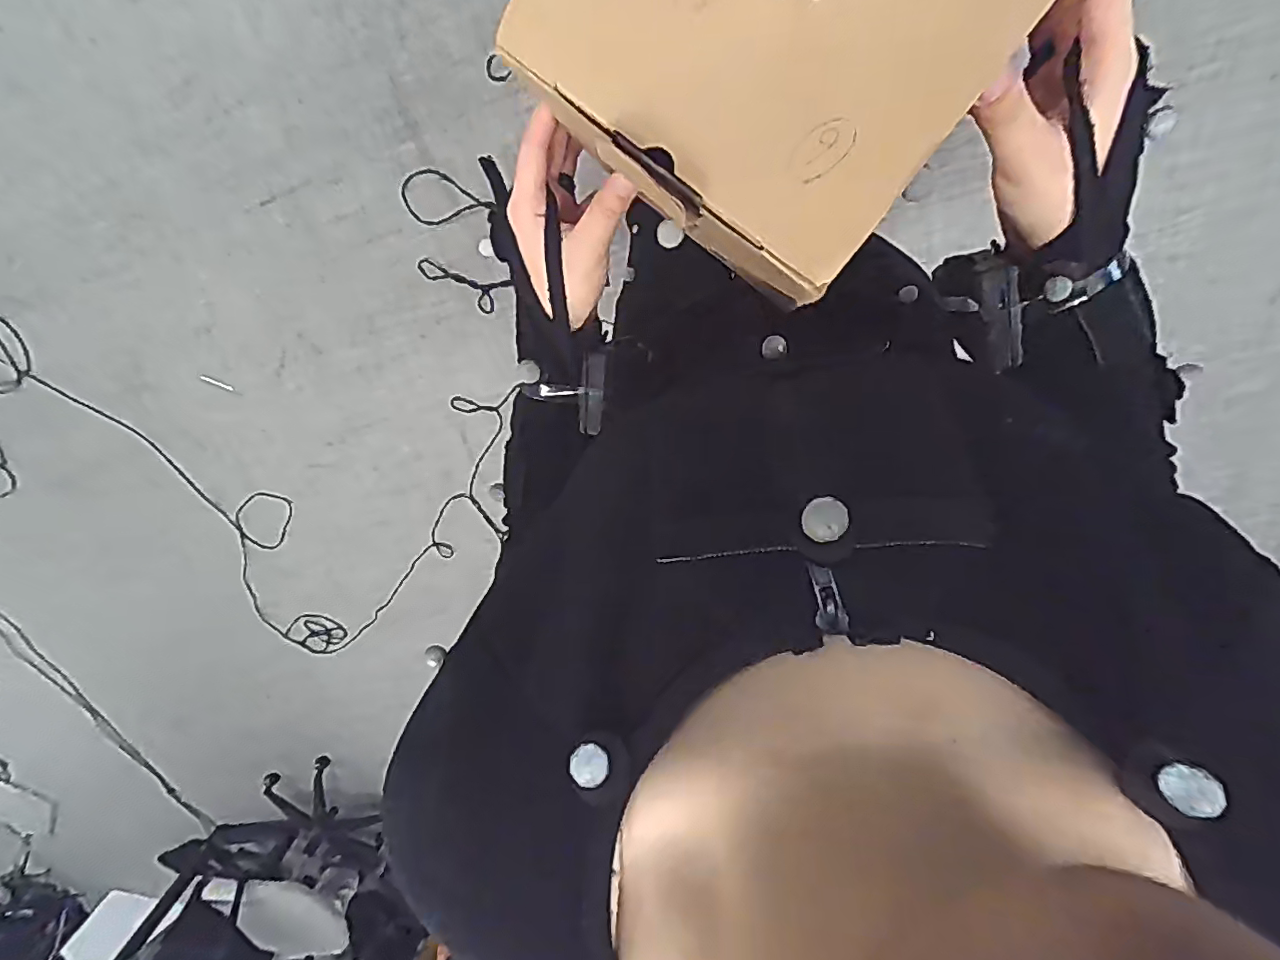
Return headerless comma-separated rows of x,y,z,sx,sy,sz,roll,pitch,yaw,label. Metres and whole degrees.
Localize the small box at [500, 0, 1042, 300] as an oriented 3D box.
0.070,-0.209,0.270,0.168,0.176,0.179,37,110,0,small box
